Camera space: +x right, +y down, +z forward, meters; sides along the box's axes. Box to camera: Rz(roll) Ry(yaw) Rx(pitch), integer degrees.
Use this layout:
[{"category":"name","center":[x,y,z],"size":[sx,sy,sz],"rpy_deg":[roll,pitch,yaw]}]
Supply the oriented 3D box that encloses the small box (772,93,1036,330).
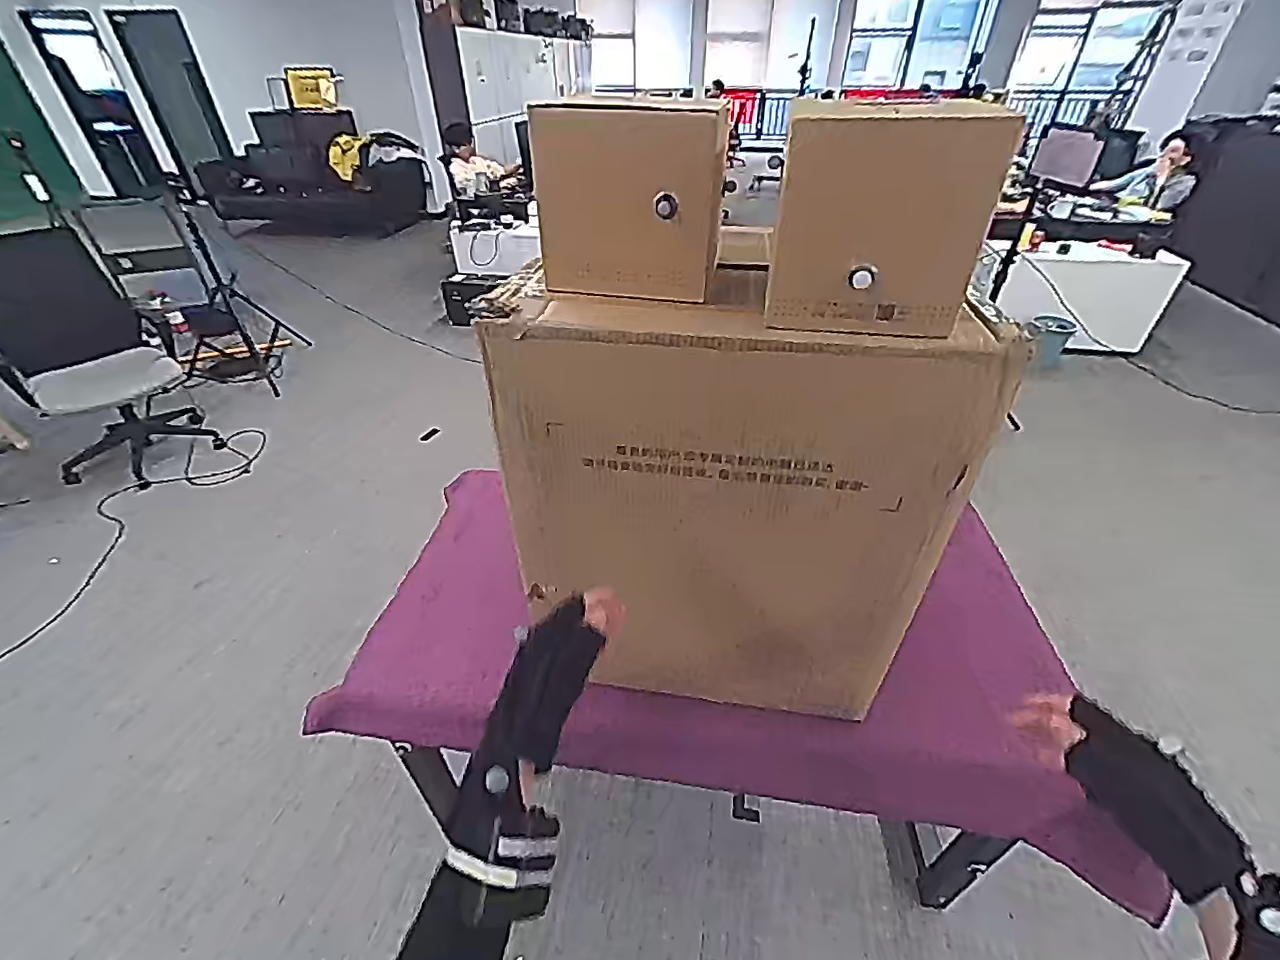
[{"category":"small box","center":[0.218,-0.256,0.506],"size":[0.168,0.176,0.179],"rpy_deg":[6,38,10]}]

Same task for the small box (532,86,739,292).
[{"category":"small box","center":[0.003,-0.309,0.574],"size":[0.179,0.176,0.168],"rpy_deg":[7,37,9]}]
